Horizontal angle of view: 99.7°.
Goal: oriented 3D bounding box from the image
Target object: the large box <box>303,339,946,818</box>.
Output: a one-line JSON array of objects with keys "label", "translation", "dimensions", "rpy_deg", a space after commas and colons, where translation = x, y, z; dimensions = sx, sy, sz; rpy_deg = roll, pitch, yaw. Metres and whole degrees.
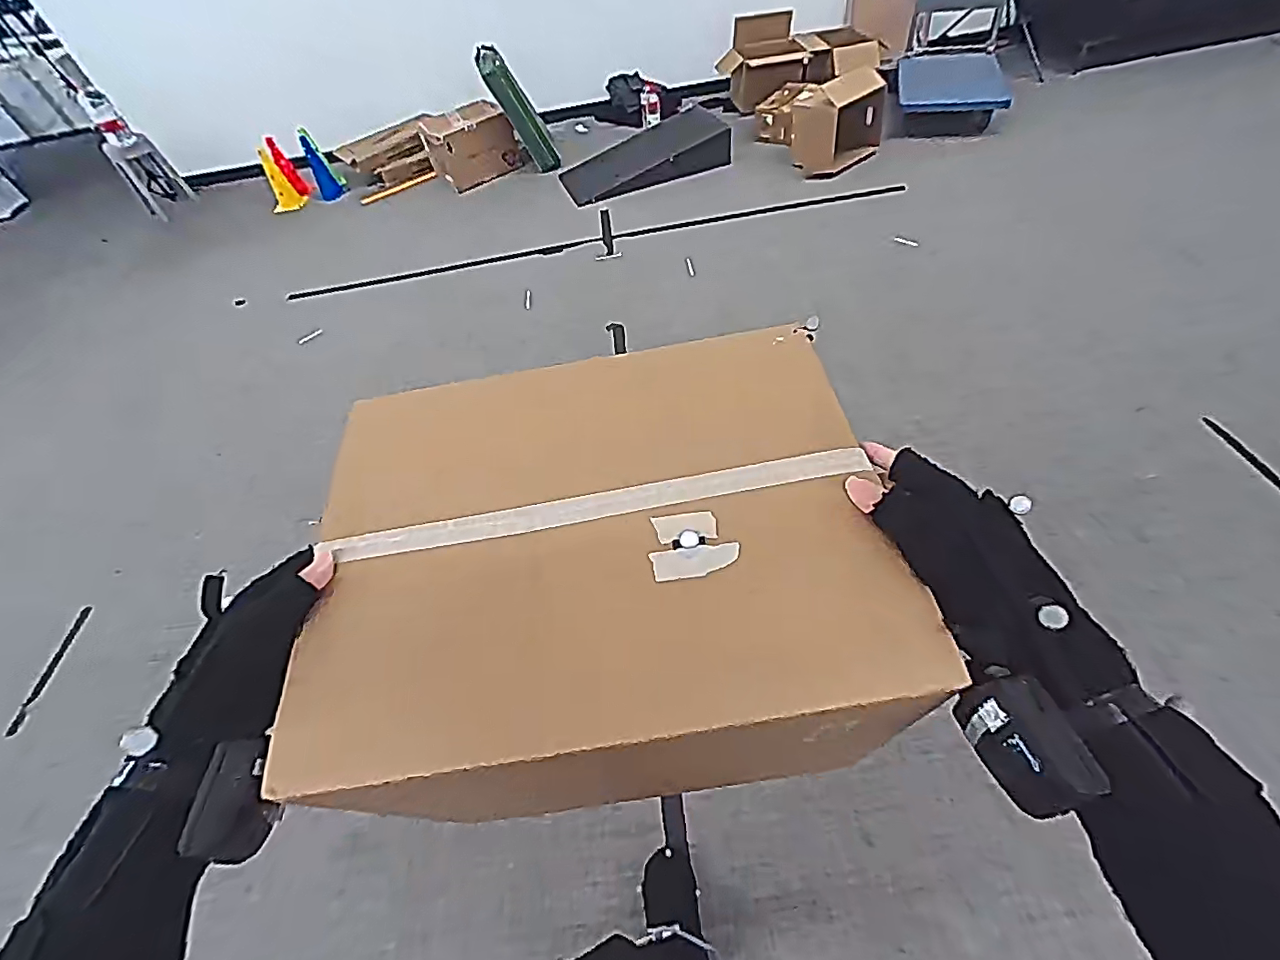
[{"label": "large box", "translation": [-0.016, 0.111, 0.530], "dimensions": [0.408, 0.320, 0.320], "rpy_deg": [-9, 55, 0]}]
